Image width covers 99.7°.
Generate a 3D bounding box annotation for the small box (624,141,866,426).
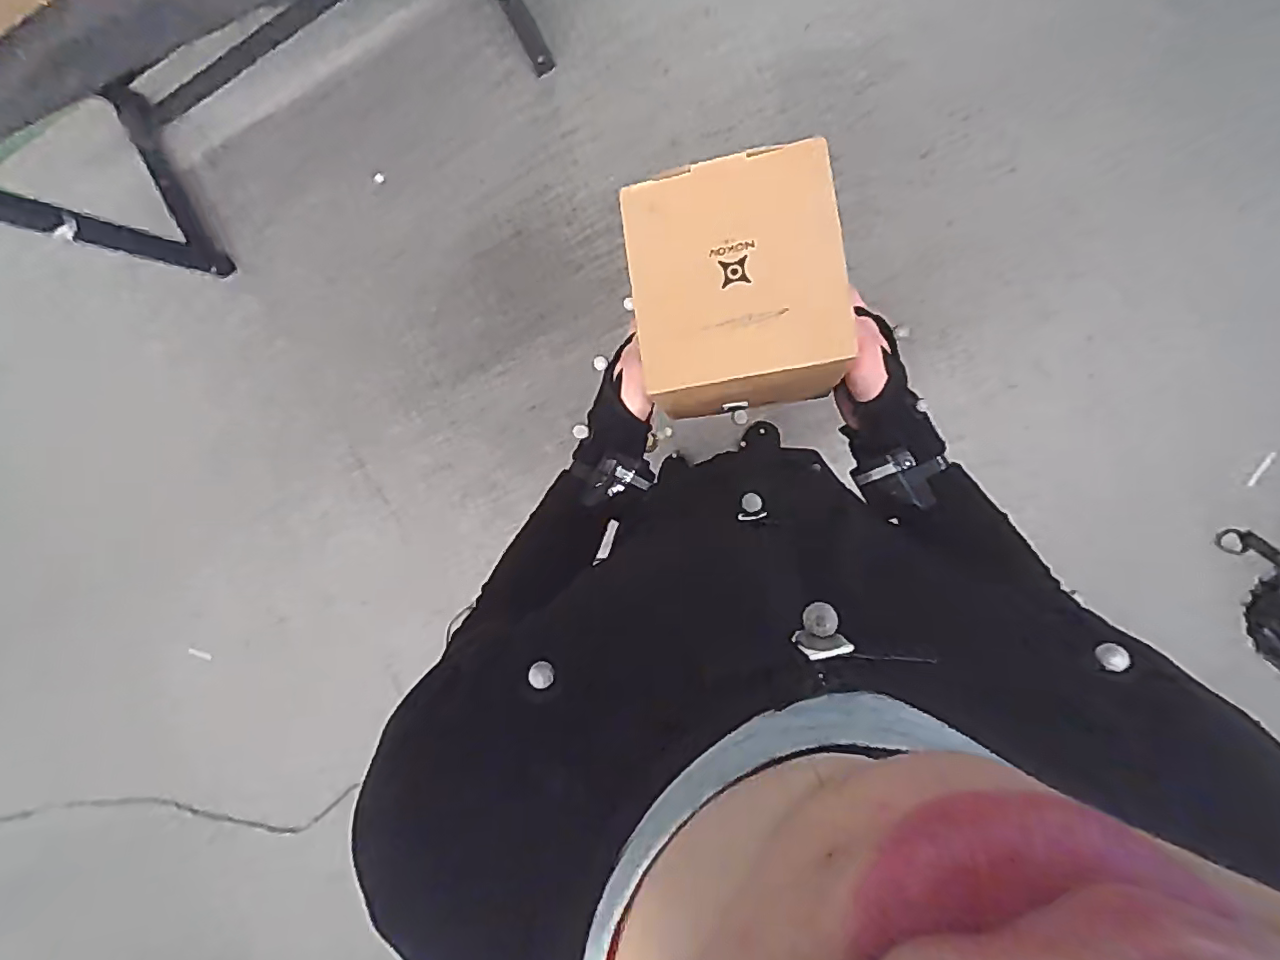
[{"bbox_3d":[0.091,-0.159,0.498,0.168,0.176,0.179,-10,86,11],"label":"small box"}]
